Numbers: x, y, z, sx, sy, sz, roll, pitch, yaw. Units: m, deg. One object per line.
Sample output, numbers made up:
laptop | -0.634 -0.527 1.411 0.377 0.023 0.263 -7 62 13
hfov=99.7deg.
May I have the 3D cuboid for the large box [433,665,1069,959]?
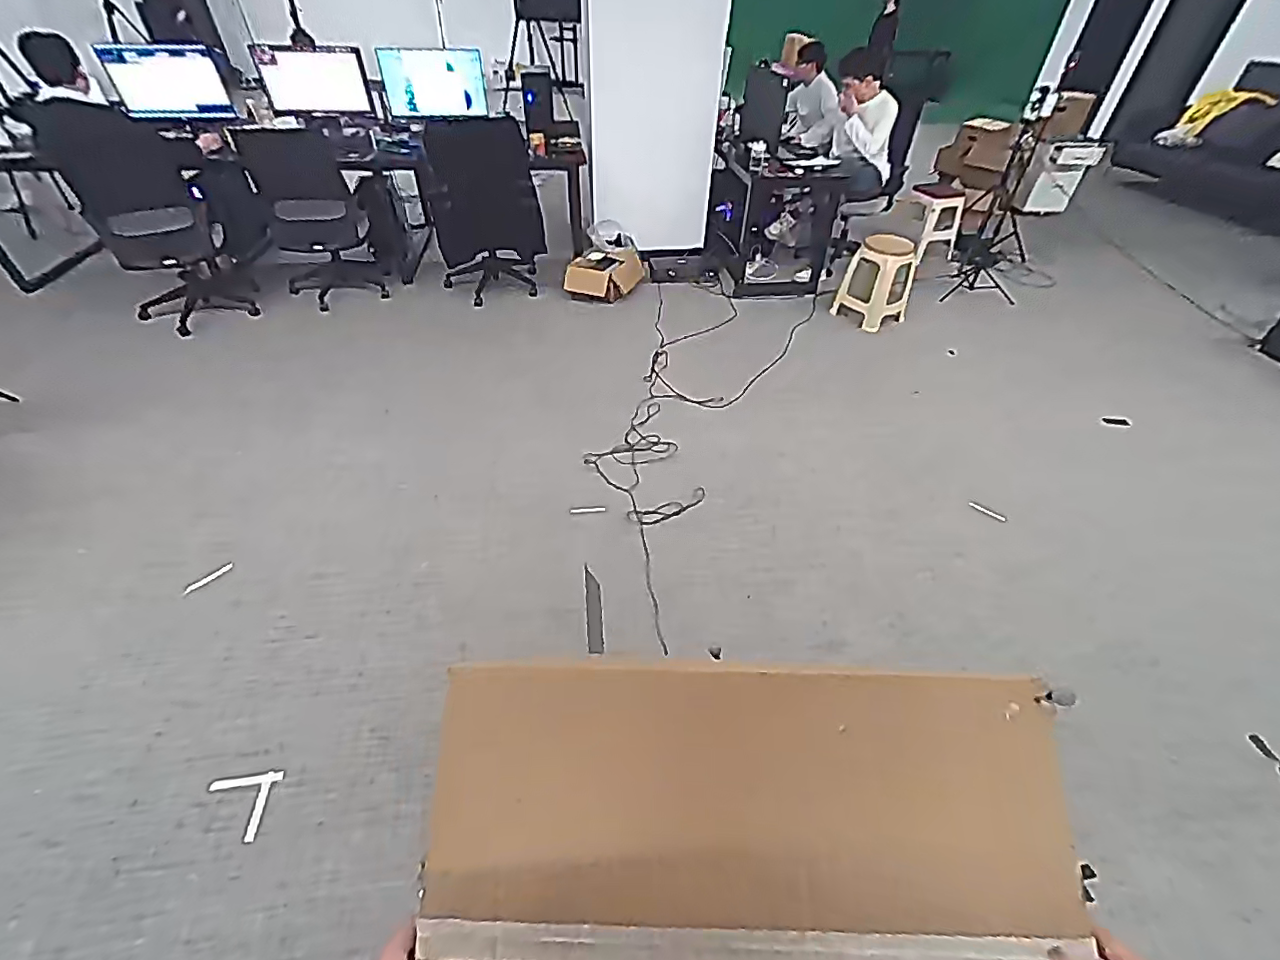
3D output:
large box | 0.067 0.331 0.480 0.408 0.320 0.320 0 74 0
